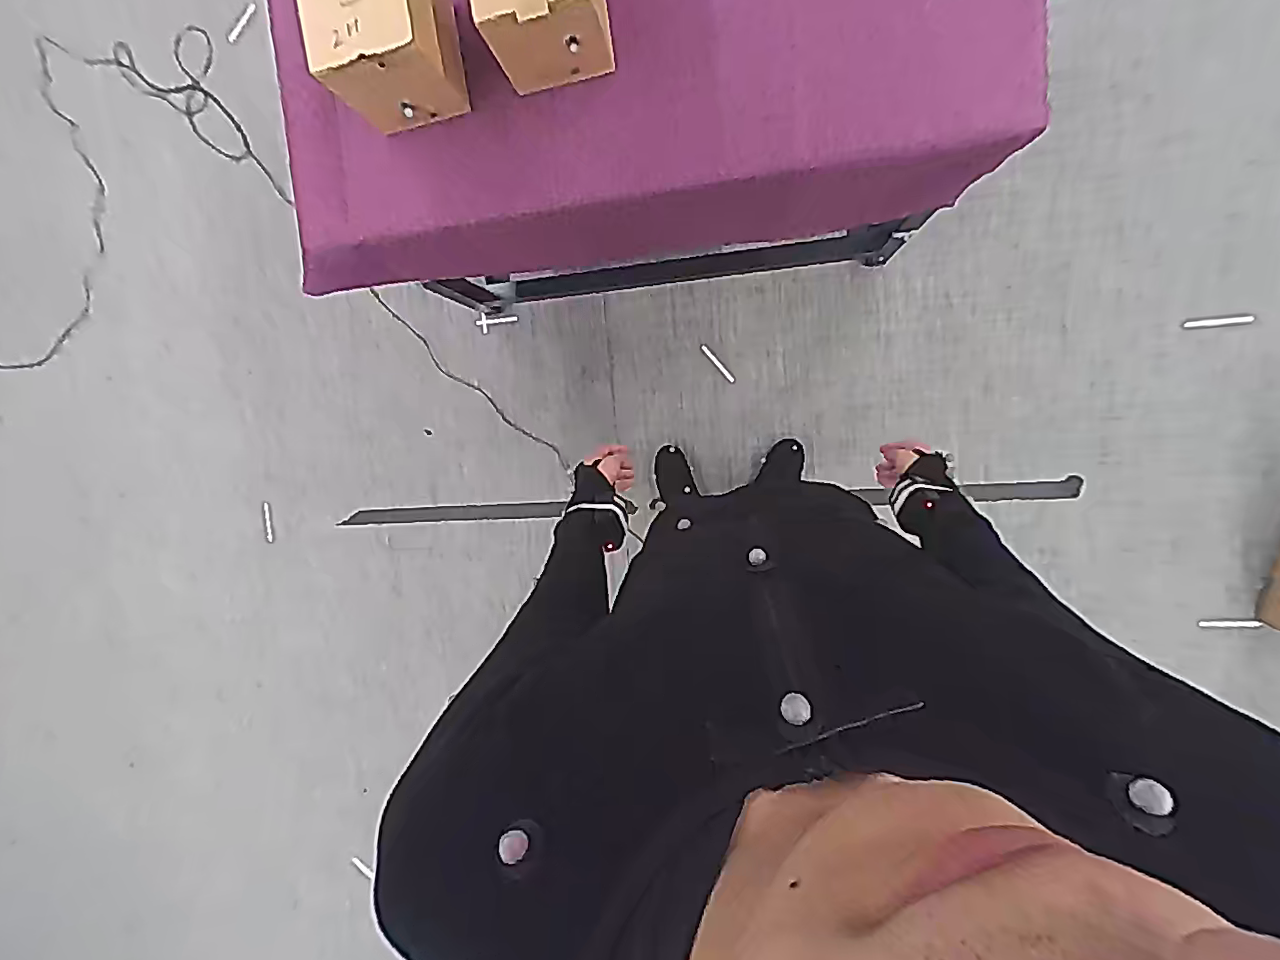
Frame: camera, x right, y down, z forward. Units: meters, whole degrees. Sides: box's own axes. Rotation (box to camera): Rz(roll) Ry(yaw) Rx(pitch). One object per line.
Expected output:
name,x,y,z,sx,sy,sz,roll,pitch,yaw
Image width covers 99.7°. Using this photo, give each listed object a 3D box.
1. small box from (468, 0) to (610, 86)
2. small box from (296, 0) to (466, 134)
small box,-0.146,-0.716,0.789,0.168,0.176,0.179,-7,94,9
small box,-0.391,-0.679,0.829,0.168,0.176,0.179,-8,95,10
